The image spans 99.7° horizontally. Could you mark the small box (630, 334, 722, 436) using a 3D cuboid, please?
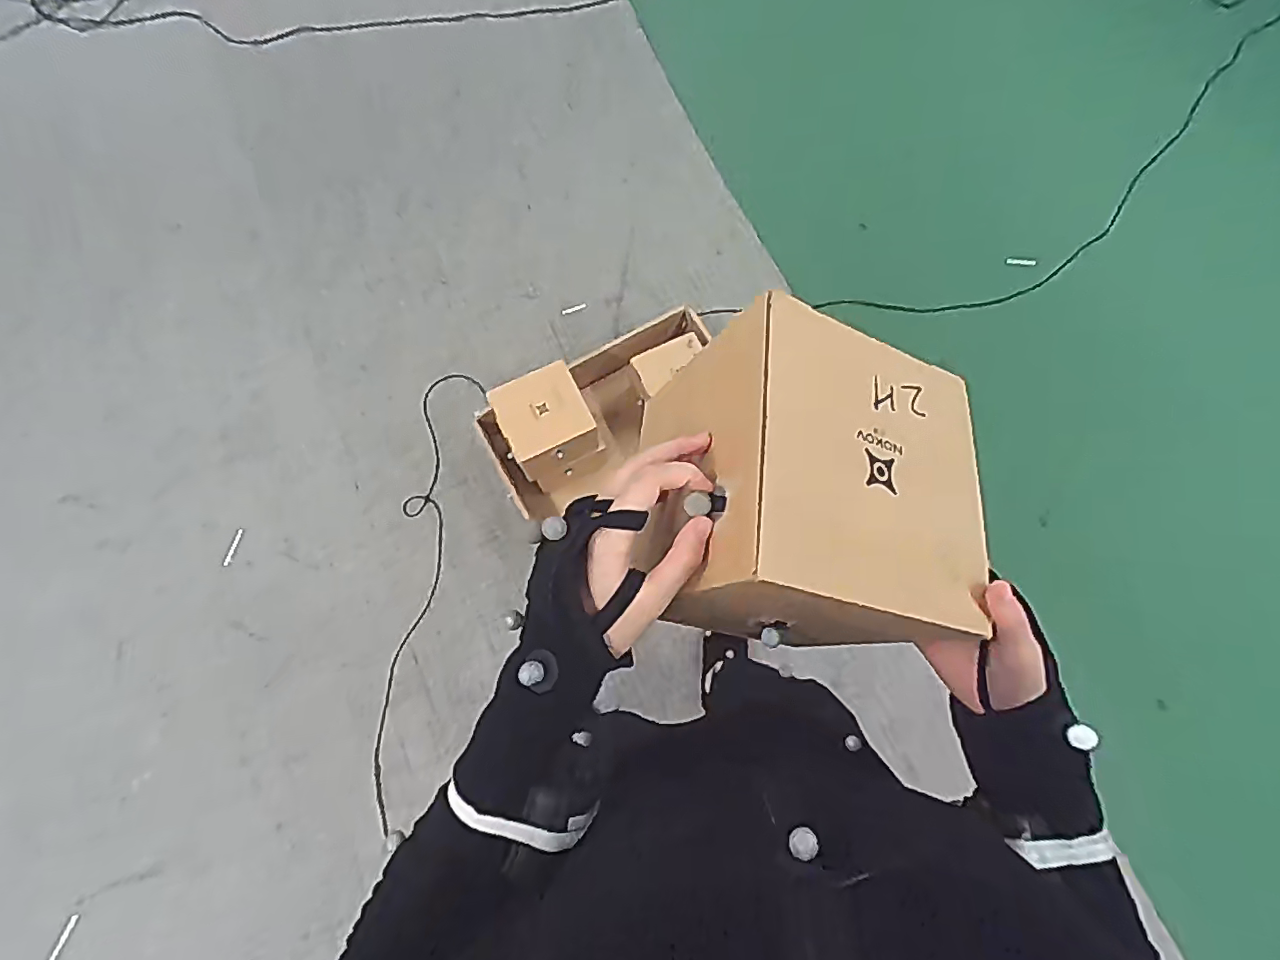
[{"bbox_3d":[0.085,-0.232,1.366,0.179,0.176,0.168,-24,78,-7],"label":"small box"}]

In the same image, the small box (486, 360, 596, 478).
[{"bbox_3d":[-0.202,-0.122,1.158,0.179,0.176,0.168,-25,79,-9],"label":"small box"}]
